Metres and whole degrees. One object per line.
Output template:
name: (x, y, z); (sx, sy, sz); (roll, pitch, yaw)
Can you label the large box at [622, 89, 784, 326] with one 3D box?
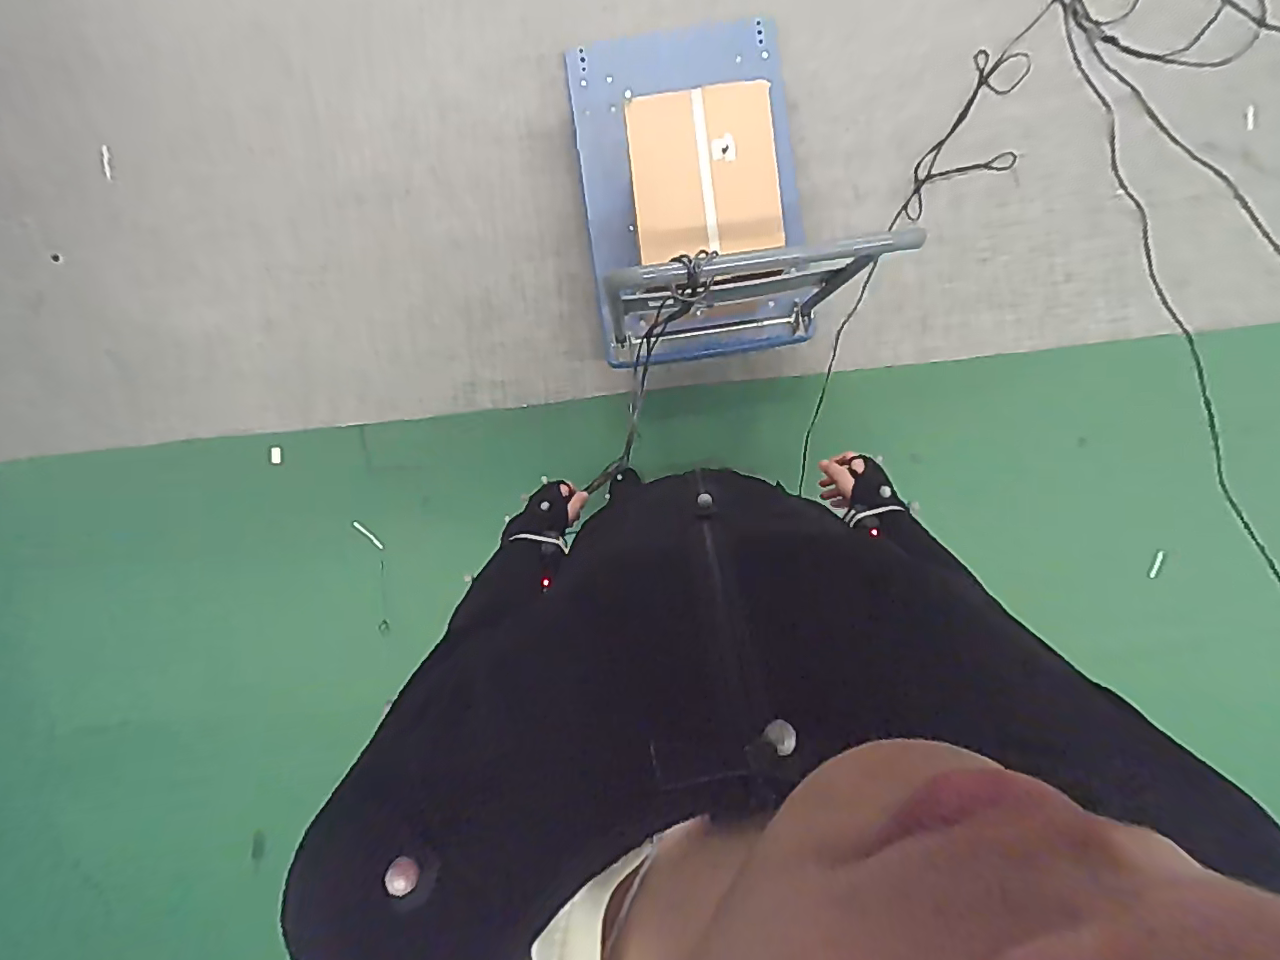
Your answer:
large box: (0.140, -0.632, 1.320); (0.320, 0.320, 0.408); (-6, 90, 0)
